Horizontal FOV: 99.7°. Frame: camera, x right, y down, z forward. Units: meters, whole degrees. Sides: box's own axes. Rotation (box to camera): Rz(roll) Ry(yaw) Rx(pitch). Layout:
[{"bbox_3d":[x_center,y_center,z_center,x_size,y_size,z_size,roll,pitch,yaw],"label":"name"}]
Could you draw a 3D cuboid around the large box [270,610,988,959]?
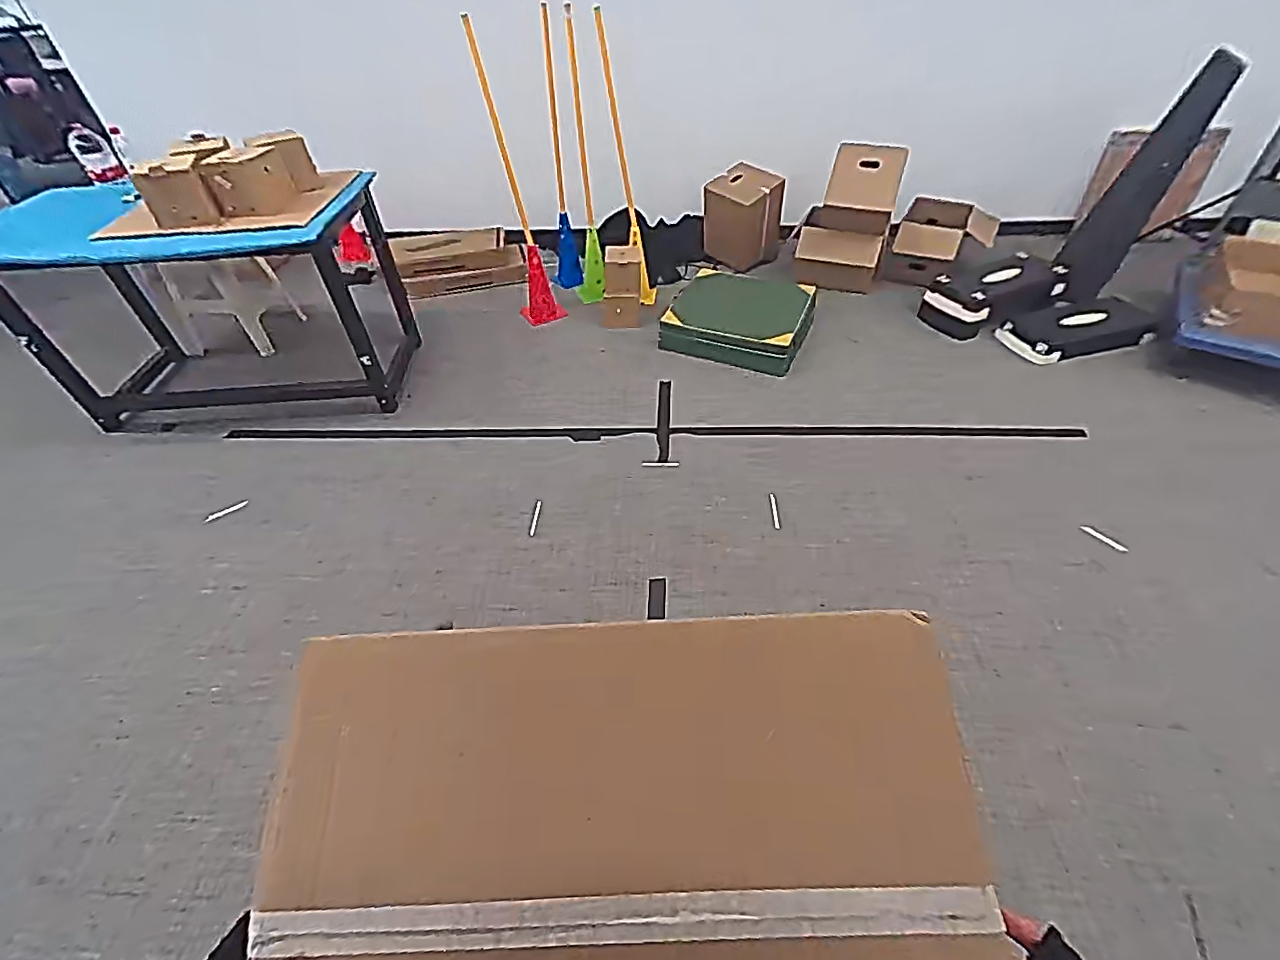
[{"bbox_3d":[-0.005,0.296,0.445,0.408,0.320,0.320,-3,69,2],"label":"large box"}]
